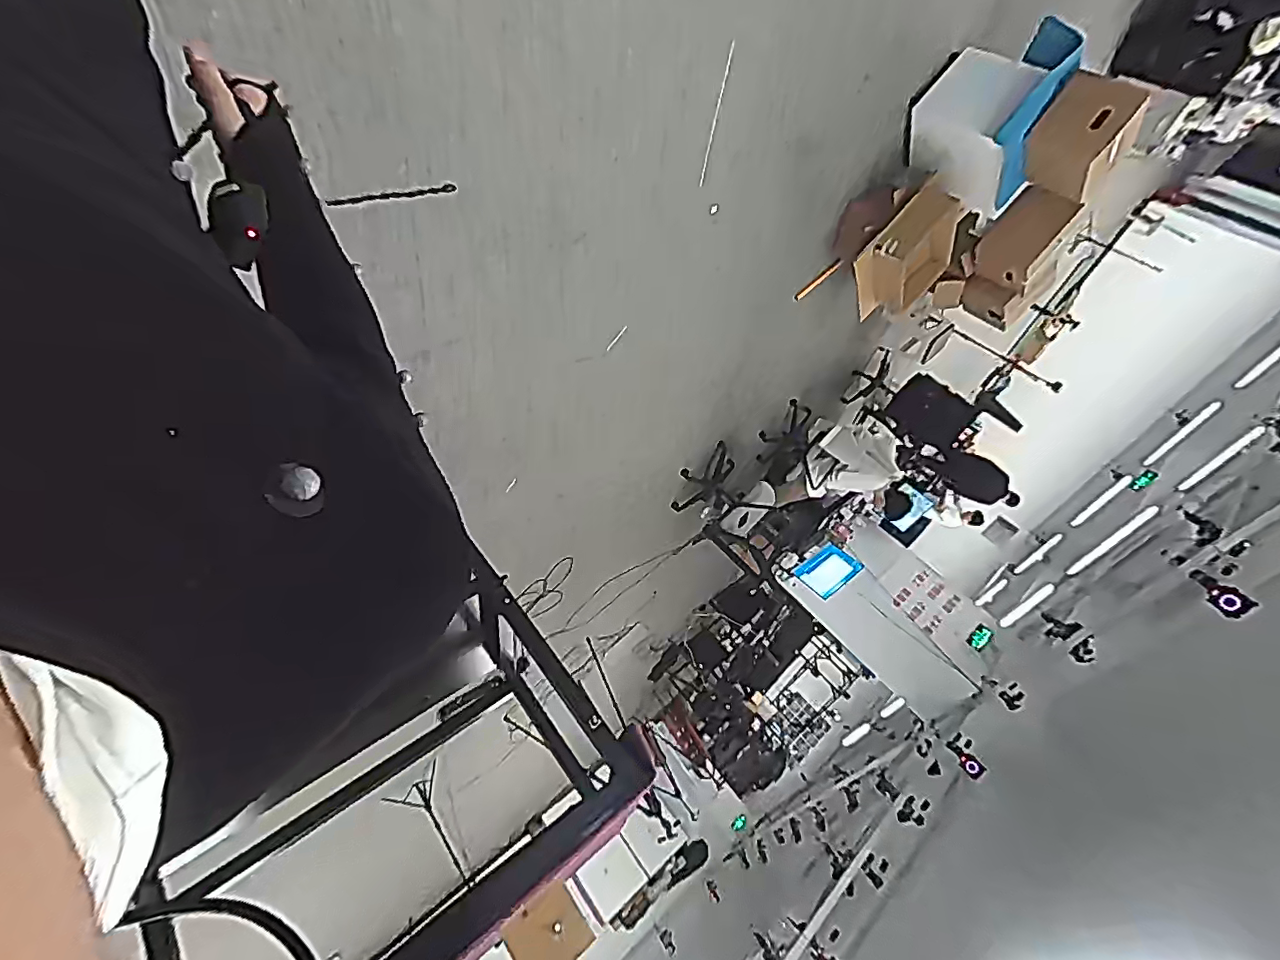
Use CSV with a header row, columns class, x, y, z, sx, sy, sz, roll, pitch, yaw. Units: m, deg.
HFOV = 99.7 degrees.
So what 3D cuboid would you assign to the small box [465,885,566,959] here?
class,x,y,z,sx,sy,sz,roll,pitch,yaw
small box,-0.293,1.088,1.260,0.168,0.176,0.179,-27,152,-33
